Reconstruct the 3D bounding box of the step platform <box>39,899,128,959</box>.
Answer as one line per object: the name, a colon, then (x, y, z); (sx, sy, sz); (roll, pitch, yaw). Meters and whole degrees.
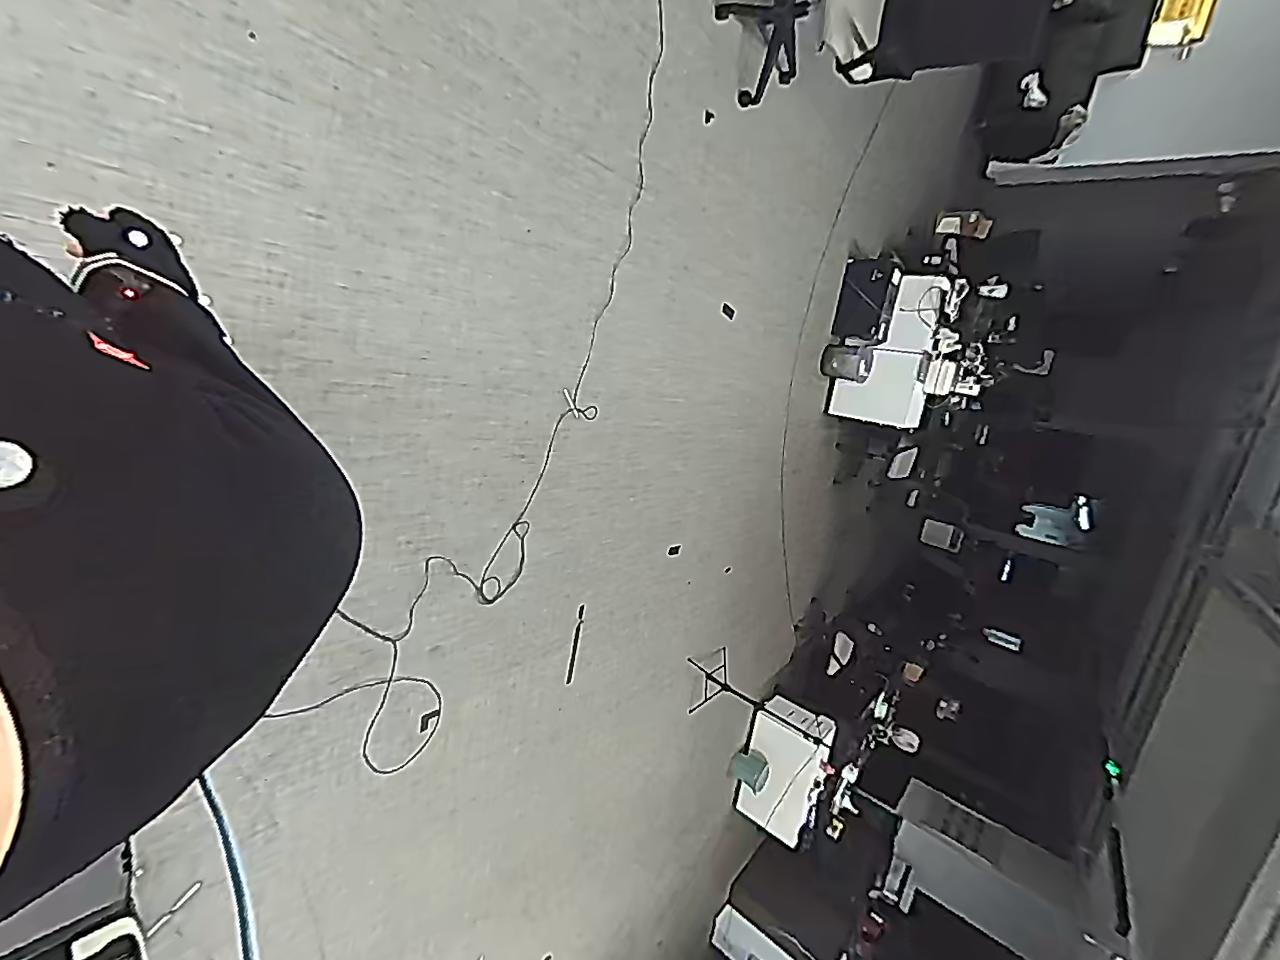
step platform: (-1.452, 1.187, 1.041); (0.684, 0.204, 0.286); (-8, 111, -50)
